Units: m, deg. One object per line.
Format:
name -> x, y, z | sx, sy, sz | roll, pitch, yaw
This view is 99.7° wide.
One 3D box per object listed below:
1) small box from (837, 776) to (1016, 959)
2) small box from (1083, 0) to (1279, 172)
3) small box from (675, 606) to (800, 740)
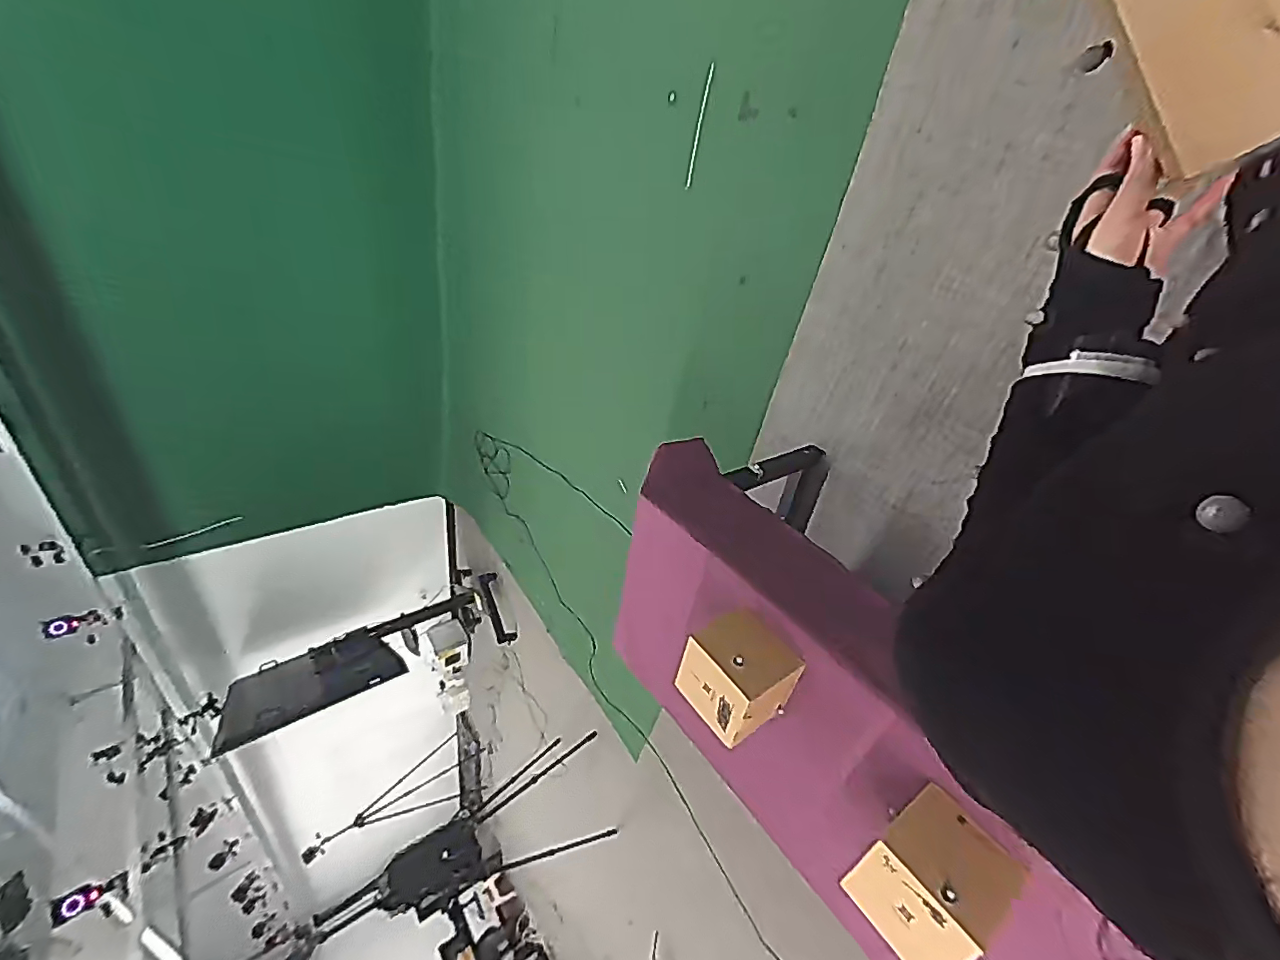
small box -> 0.463, 0.630, 0.878 | 0.168, 0.176, 0.179 | 42, 136, 36
small box -> 0.369, -0.300, 0.295 | 0.179, 0.176, 0.168 | -21, 99, 45
small box -> 0.205, 0.396, 1.139 | 0.179, 0.176, 0.168 | 42, 135, 37
